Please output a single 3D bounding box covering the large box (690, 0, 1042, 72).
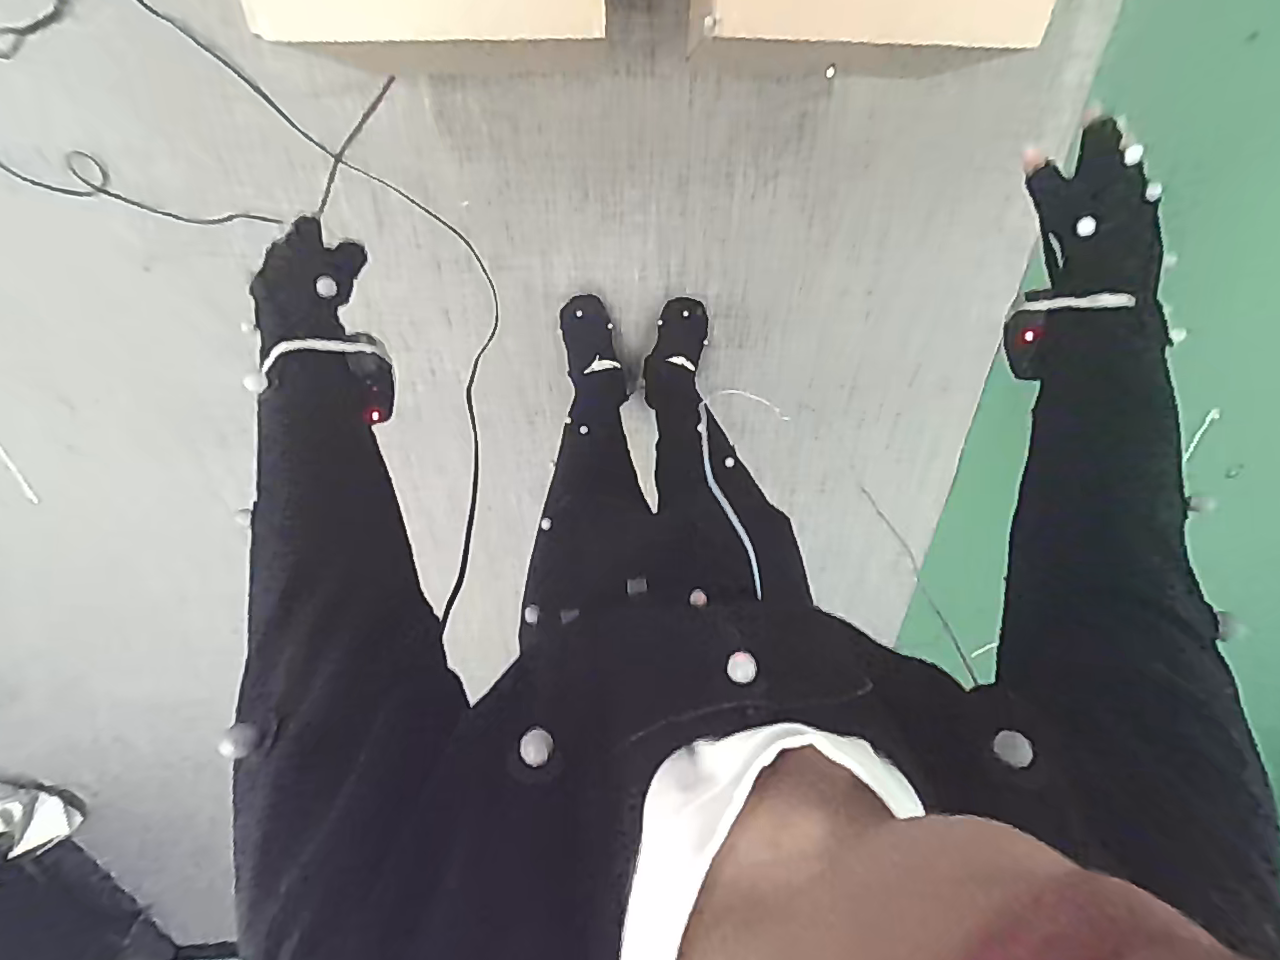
[{"bbox_3d":[0.290,-0.748,0.717,0.408,0.320,0.320,1,121,-2],"label":"large box"}]
